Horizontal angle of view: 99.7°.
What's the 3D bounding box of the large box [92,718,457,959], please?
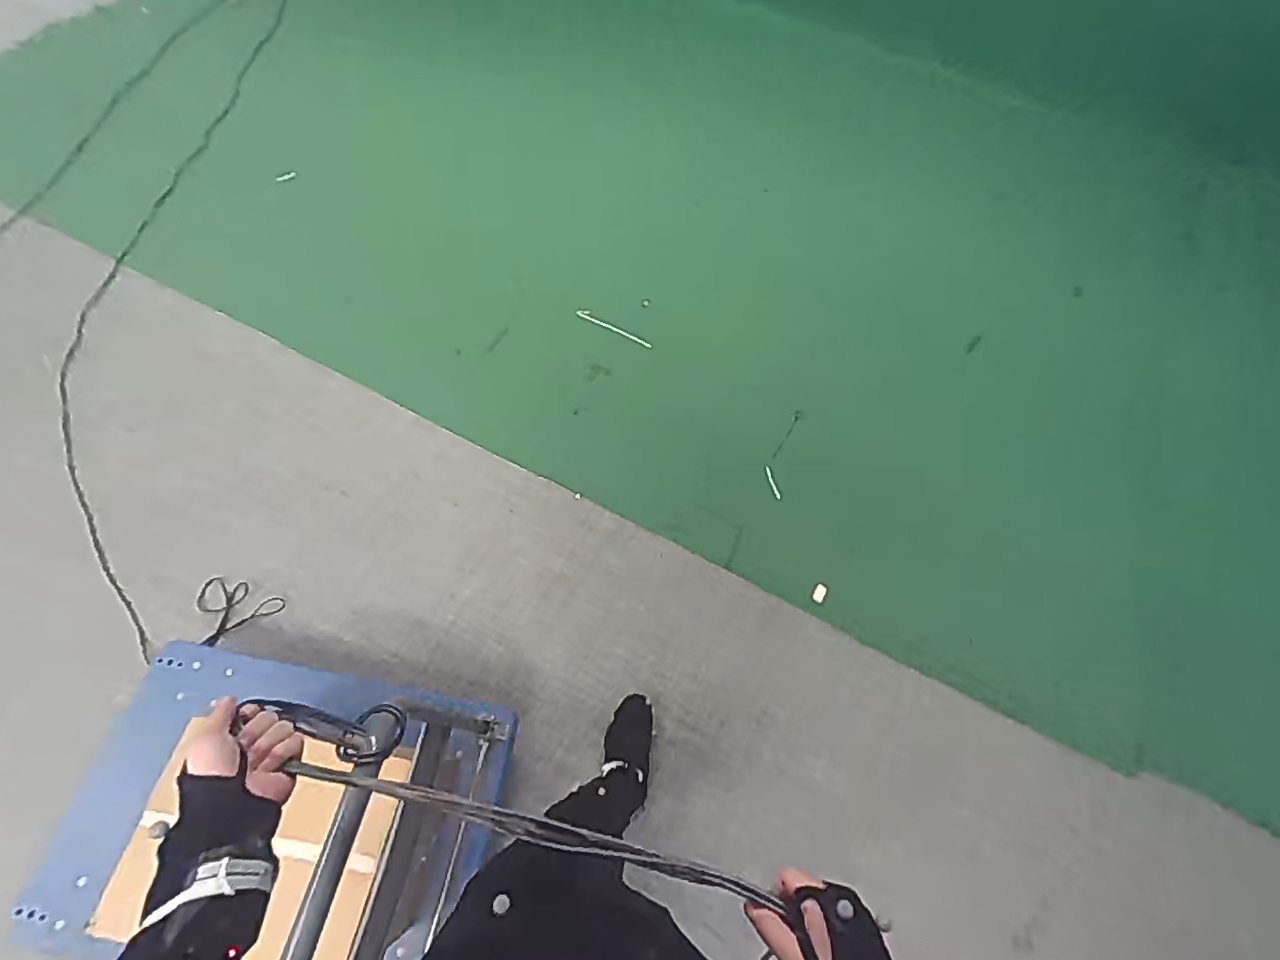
[{"bbox_3d":[-0.615,0.648,1.007,0.408,0.320,0.320,10,63,3],"label":"large box"}]
